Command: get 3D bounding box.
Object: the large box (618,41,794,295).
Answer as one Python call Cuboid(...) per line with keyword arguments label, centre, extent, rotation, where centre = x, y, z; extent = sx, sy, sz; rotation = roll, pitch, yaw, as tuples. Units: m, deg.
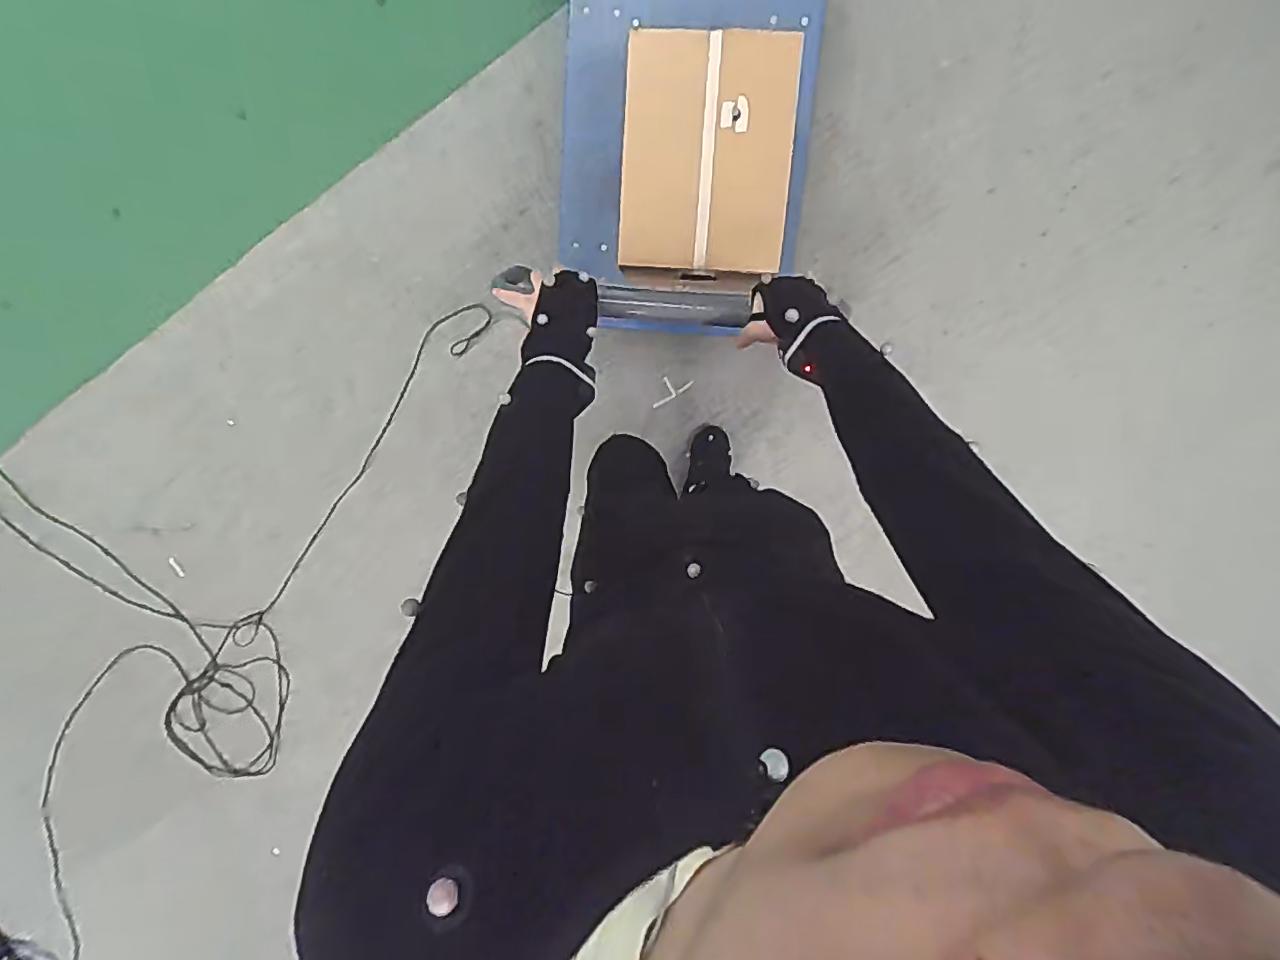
Cuboid(label="large box", centre=(0.130, -0.632, 1.172), extent=(0.320, 0.320, 0.408), rotation=(4, 101, 2))
